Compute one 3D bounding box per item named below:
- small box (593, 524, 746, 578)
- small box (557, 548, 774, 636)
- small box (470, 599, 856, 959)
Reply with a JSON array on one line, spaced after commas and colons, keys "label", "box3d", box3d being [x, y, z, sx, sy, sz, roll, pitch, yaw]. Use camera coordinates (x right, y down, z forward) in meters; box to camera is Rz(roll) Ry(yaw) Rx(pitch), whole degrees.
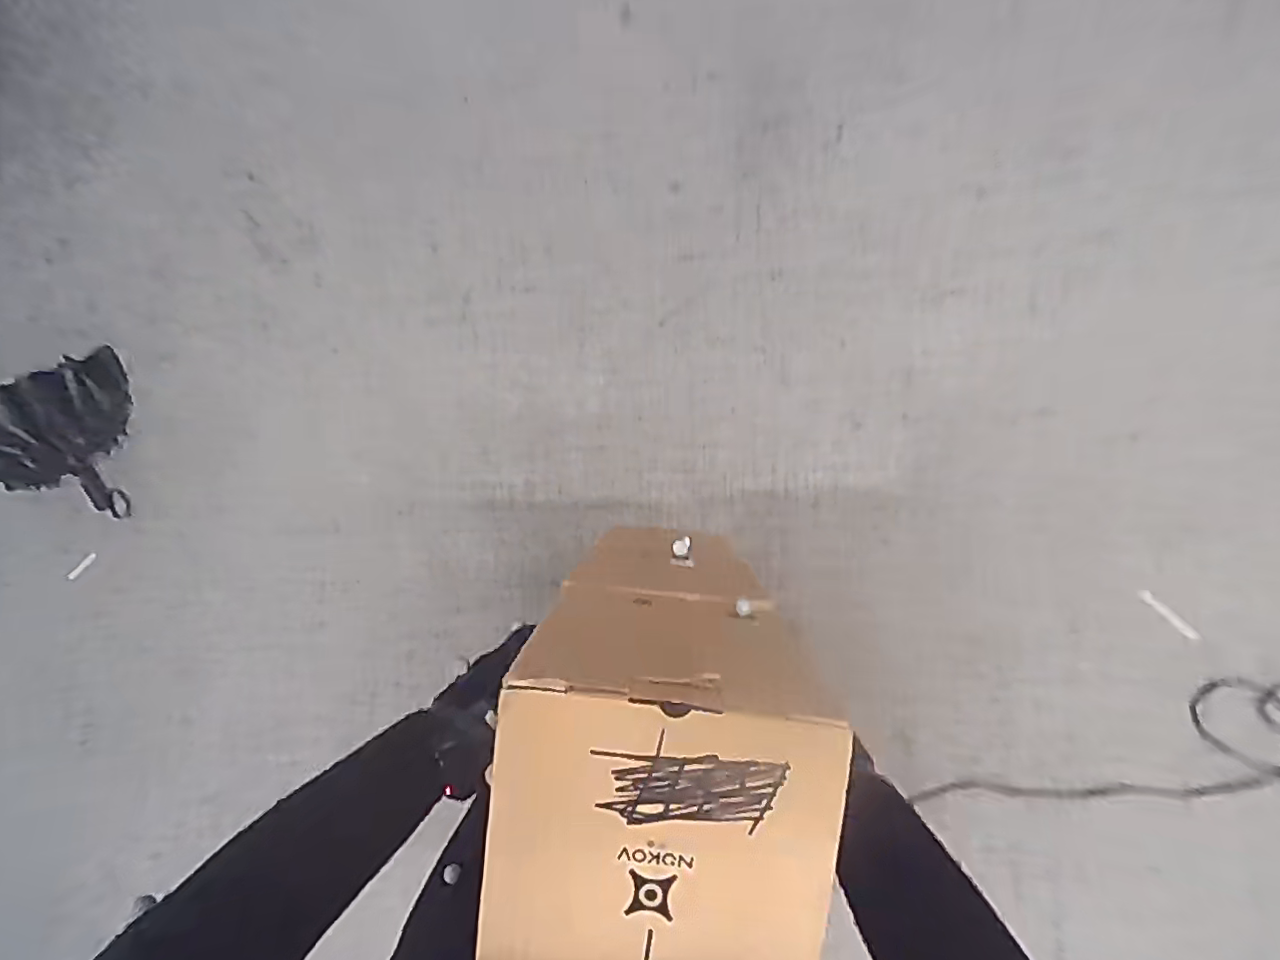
[{"label": "small box", "box3d": [0.028, 0.160, 0.653, 0.168, 0.176, 0.179, 7, 94, 3]}, {"label": "small box", "box3d": [0.017, 0.168, 0.491, 0.168, 0.176, 0.179, 4, 93, 3]}, {"label": "small box", "box3d": [0.010, 0.184, 0.327, 0.168, 0.176, 0.179, 7, 95, 3]}]
